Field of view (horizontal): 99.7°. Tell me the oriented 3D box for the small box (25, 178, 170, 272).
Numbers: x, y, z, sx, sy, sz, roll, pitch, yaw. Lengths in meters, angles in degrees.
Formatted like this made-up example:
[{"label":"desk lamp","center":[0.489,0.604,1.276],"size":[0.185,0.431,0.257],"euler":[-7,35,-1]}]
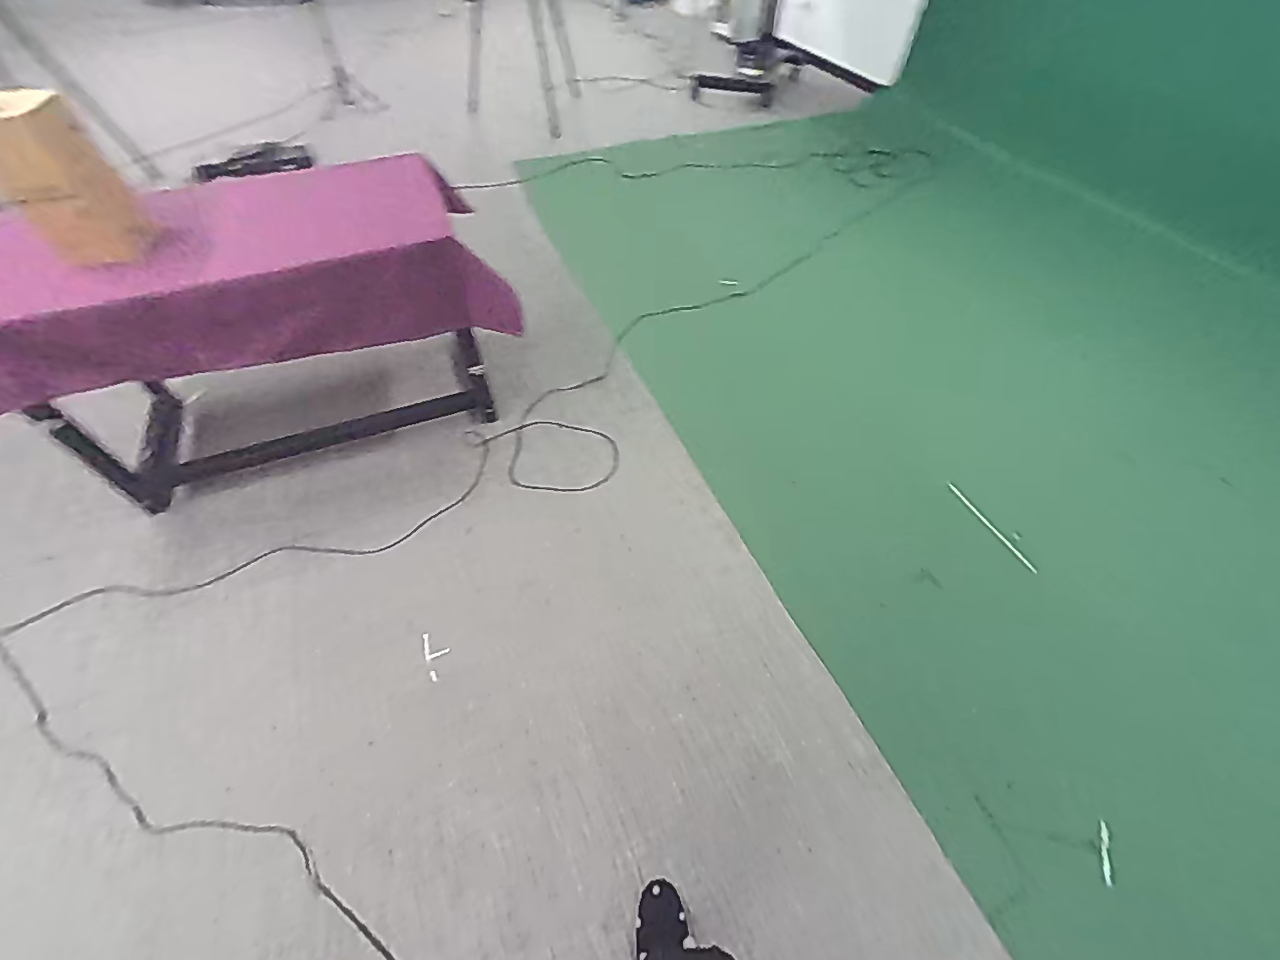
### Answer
[{"label":"small box","center":[-1.391,-0.658,1.403],"size":[0.179,0.176,0.168],"euler":[-8,51,-8]}]
